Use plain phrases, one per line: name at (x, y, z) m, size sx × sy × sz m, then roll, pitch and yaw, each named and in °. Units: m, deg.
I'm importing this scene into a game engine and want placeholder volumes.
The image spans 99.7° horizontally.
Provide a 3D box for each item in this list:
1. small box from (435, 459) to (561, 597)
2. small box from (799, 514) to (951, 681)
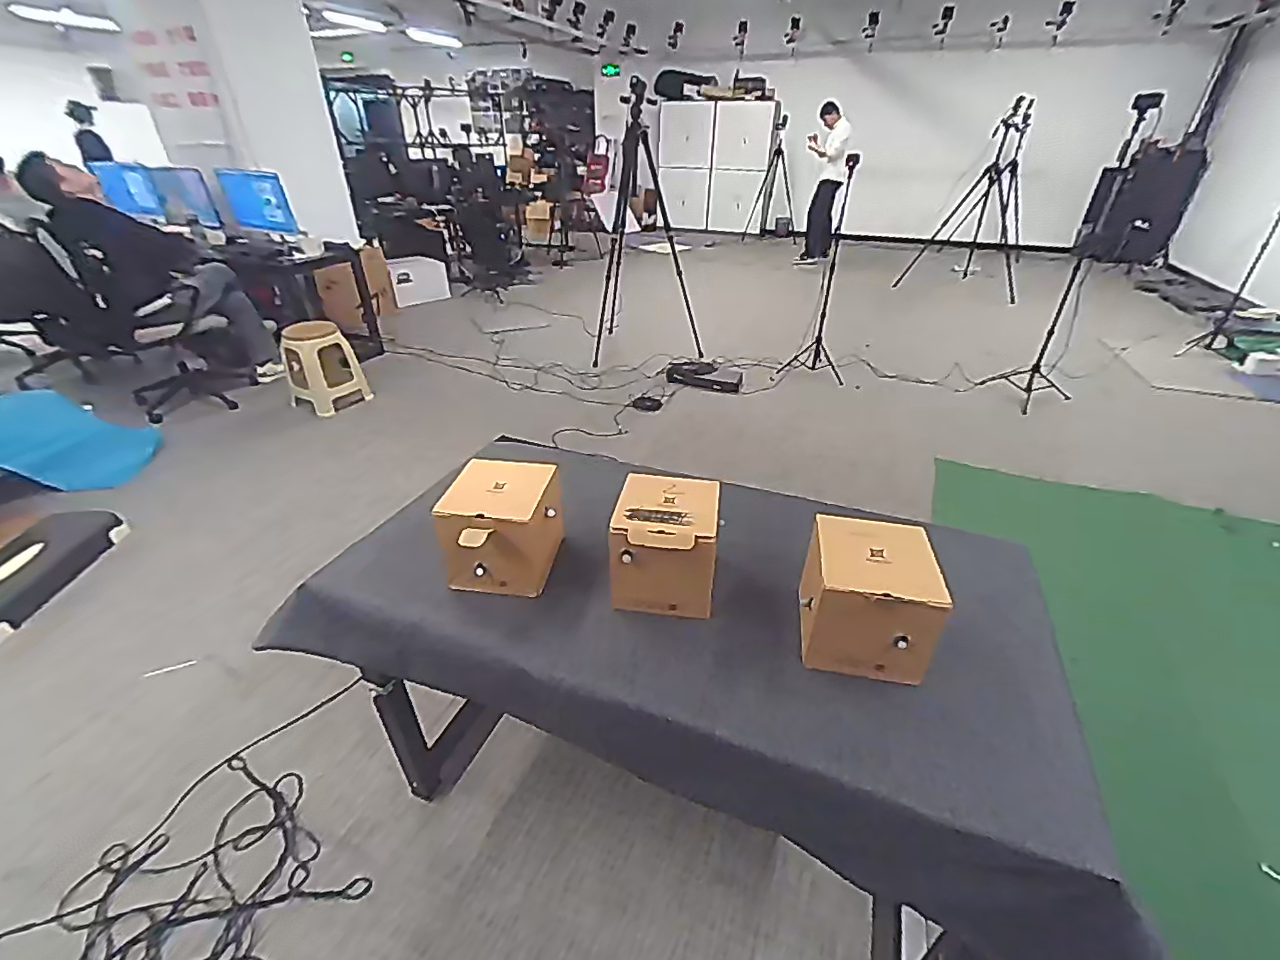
small box at (-0.241, 0.082, 0.971) m, size 0.168 × 0.176 × 0.179 m, roll 5°, pitch 33°, yaw 6°
small box at (0.343, 0.177, 0.826) m, size 0.168 × 0.176 × 0.179 m, roll 7°, pitch 32°, yaw 9°
